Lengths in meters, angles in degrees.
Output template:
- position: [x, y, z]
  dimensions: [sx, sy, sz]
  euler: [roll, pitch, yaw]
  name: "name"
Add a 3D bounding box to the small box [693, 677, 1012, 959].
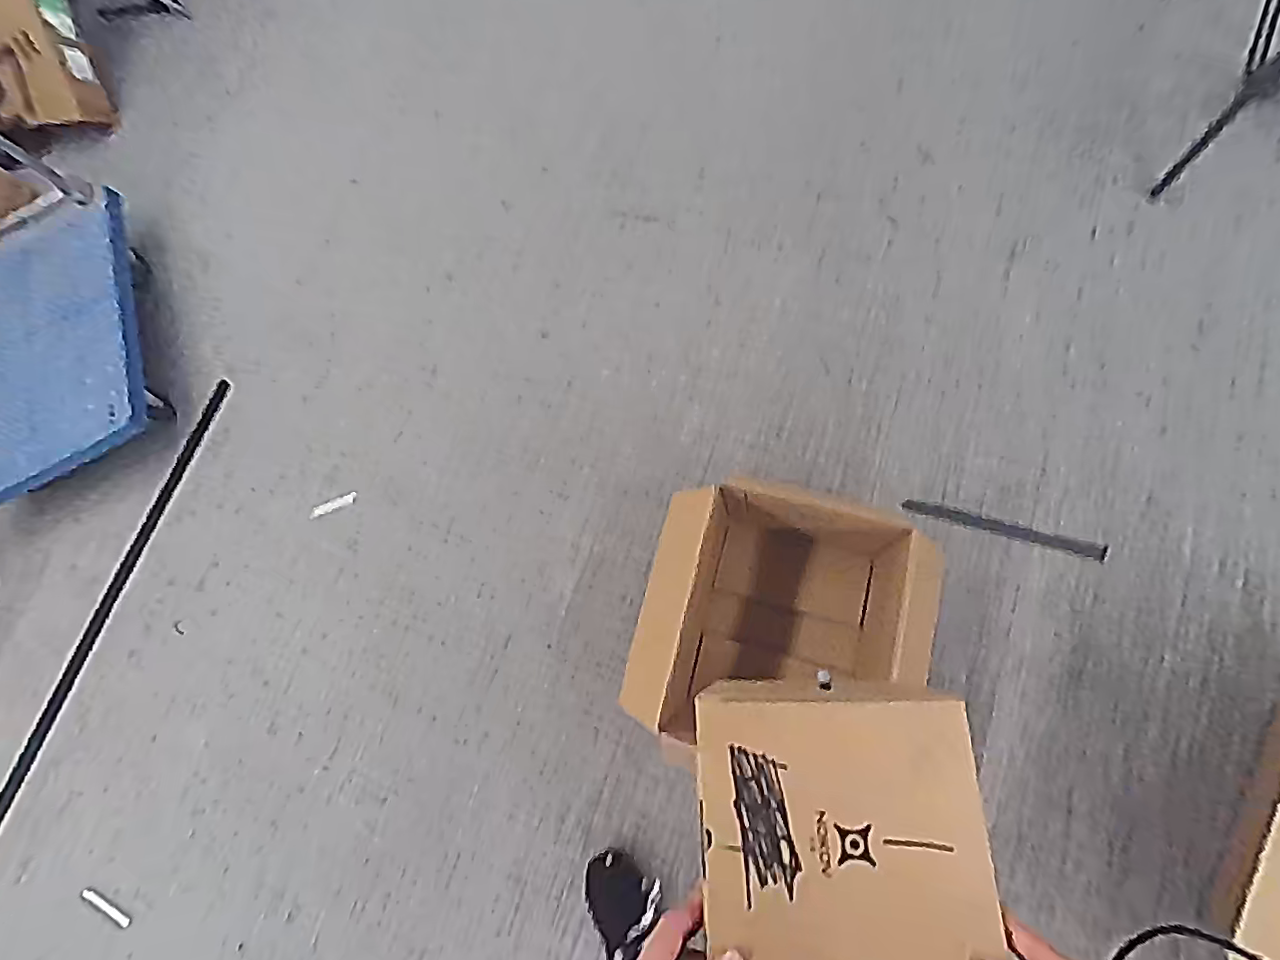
- position: [0.141, 0.243, 0.412]
  dimensions: [0.179, 0.176, 0.168]
  euler: [-5, 72, 11]
  name: "small box"
